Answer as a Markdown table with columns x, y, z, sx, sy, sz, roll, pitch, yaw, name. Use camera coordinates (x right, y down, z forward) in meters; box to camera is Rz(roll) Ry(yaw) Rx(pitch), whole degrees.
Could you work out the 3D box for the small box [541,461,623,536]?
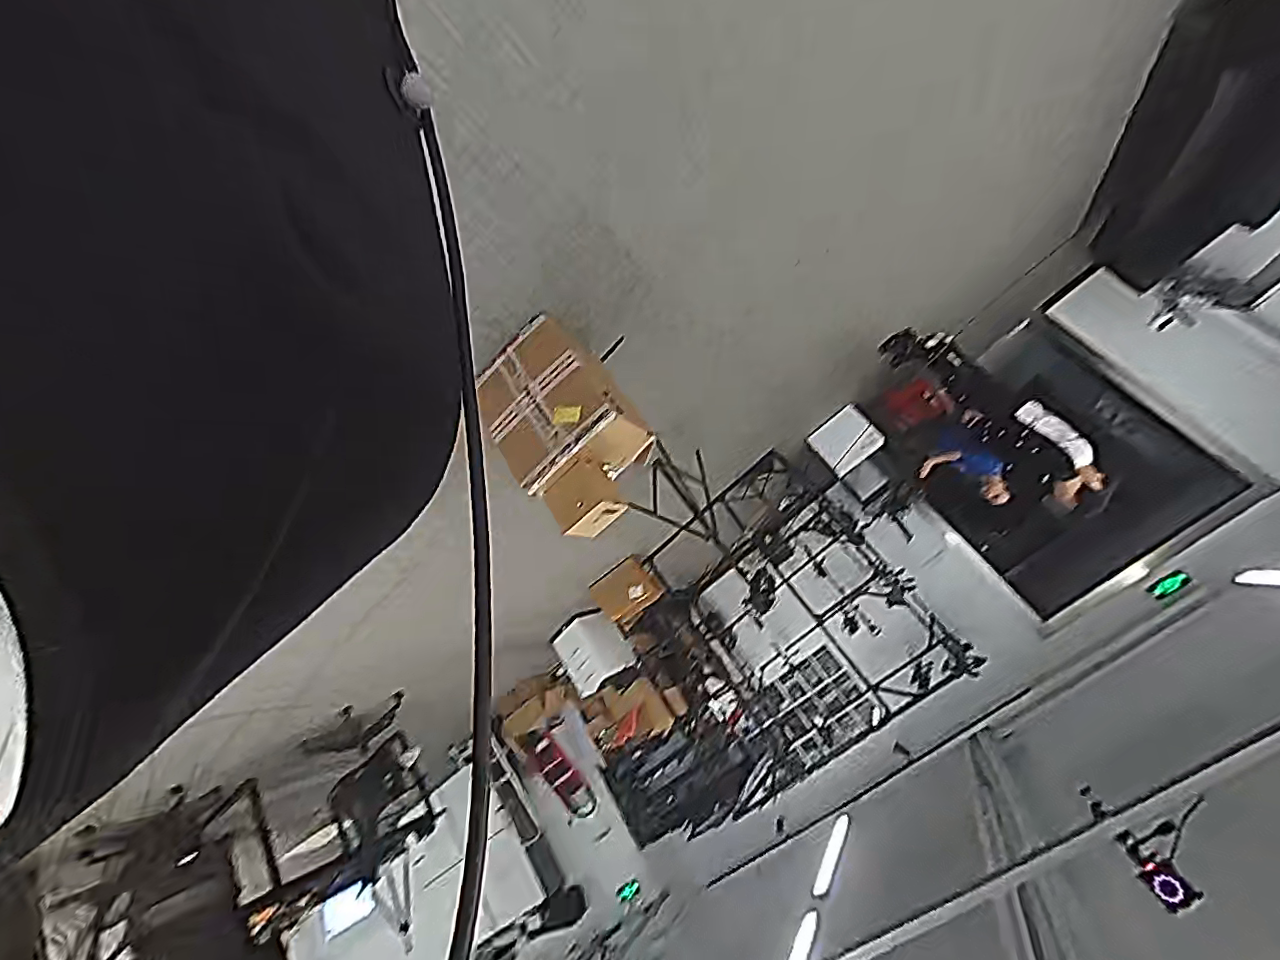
| x | y | z | sx | sy | sz | roll | pitch | yaw | name |
| --- | --- | --- | --- | --- | --- | --- | --- | --- | --- |
| -0.194 | 0.062 | 1.787 | 0.179 | 0.176 | 0.168 | -40 | 154 | 16 | small box |
